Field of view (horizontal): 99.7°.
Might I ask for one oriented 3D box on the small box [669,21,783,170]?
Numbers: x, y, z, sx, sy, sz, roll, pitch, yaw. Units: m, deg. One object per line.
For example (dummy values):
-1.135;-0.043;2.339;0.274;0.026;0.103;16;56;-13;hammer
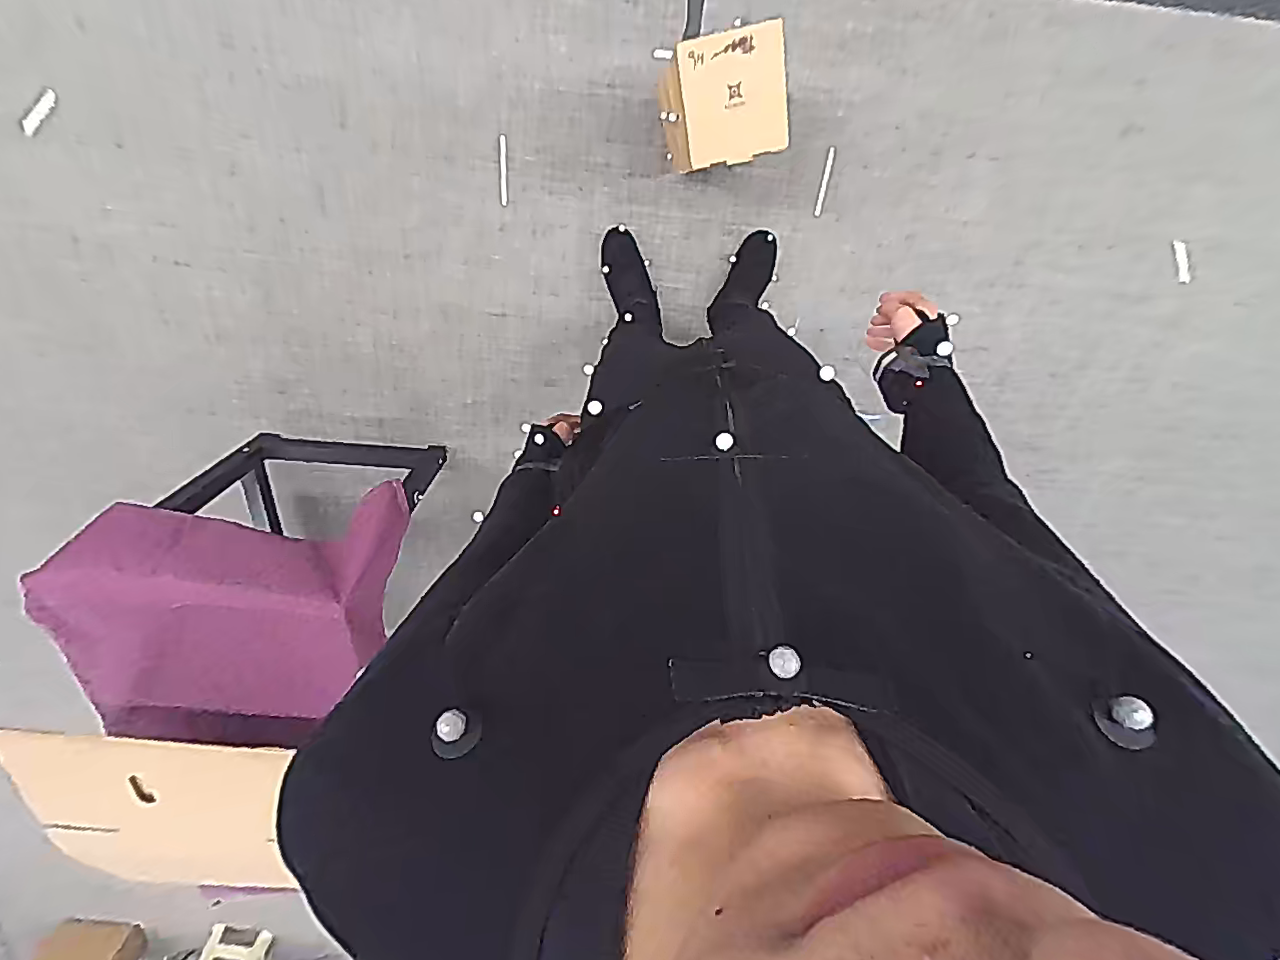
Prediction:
0.146;-0.655;0.938;0.168;0.176;0.179;-10;120;4;small box
